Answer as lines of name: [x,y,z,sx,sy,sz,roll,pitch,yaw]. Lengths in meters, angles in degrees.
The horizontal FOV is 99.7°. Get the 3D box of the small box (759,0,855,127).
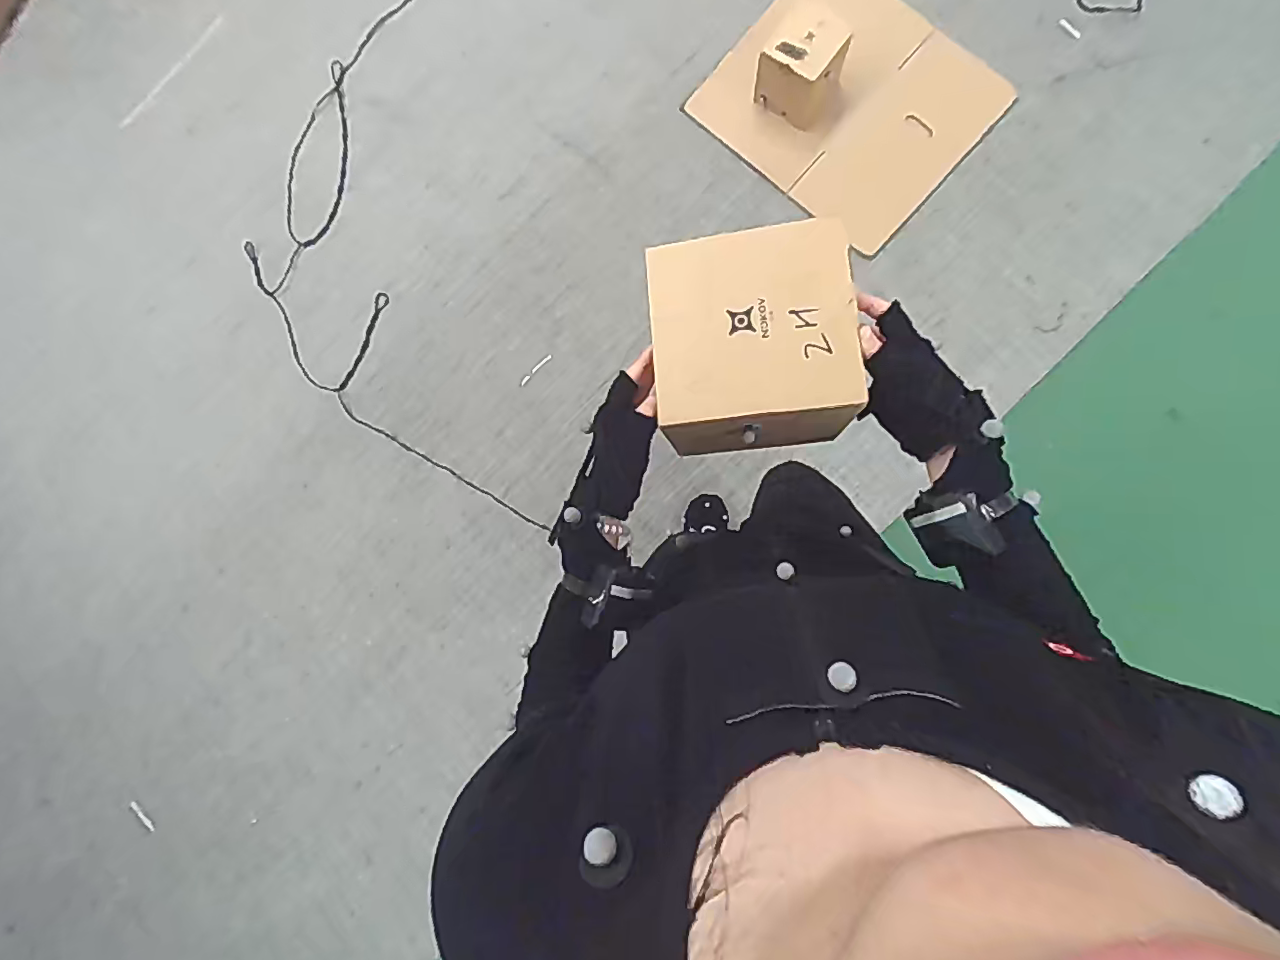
small box: [0.430,-1.092,1.432,0.168,0.176,0.179,38,90,7]

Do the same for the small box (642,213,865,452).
small box: [0.106,-0.126,0.535,0.179,0.176,0.168,-6,83,10]
